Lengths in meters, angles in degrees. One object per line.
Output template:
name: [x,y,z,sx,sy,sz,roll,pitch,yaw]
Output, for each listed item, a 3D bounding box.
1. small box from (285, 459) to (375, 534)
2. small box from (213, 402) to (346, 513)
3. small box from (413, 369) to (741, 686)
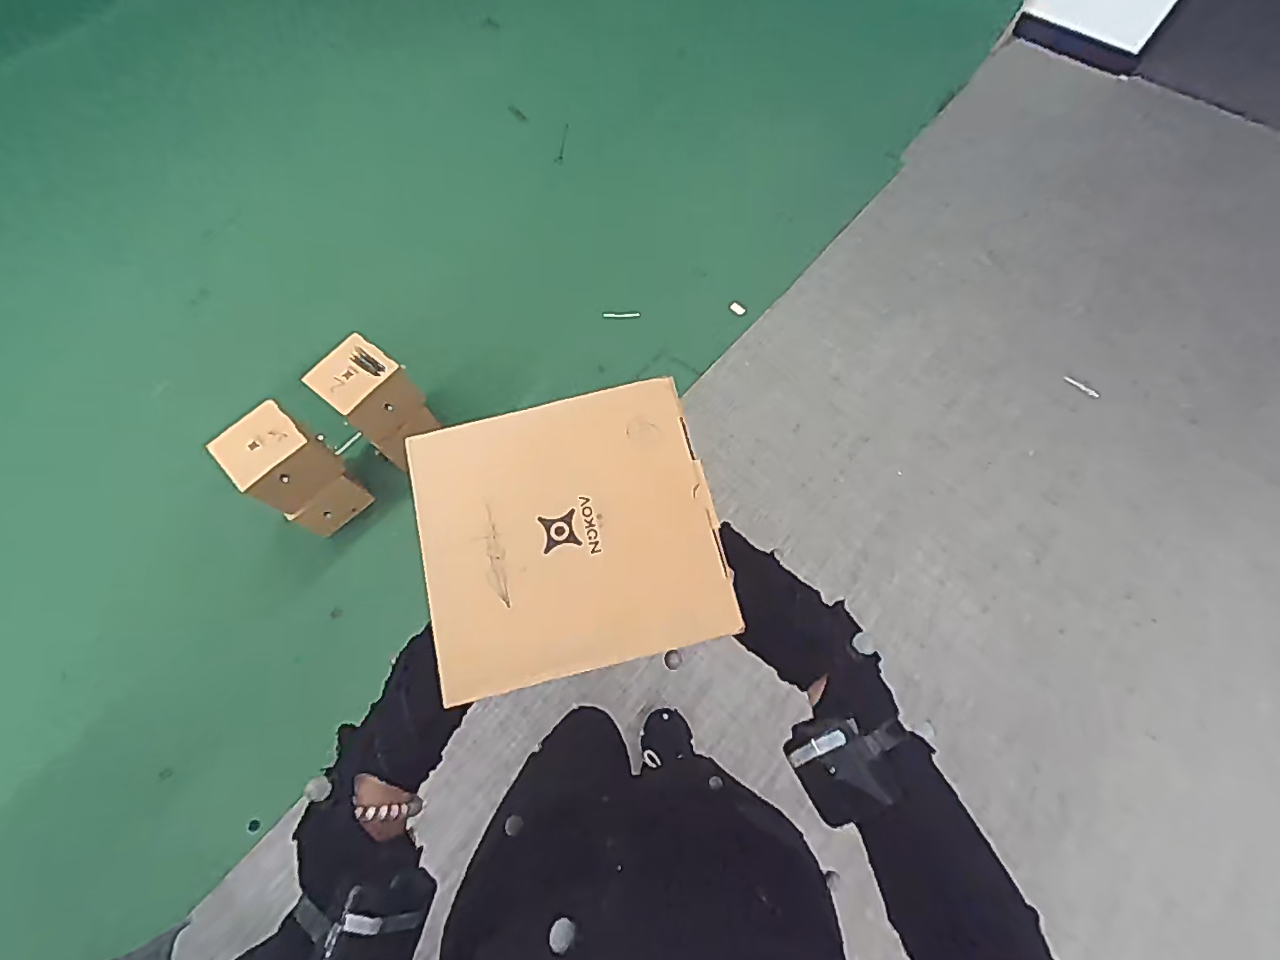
small box: [-0.857,0.028,1.459,0.168,0.176,0.179,-42,72,-14]
small box: [-0.864,-0.048,1.312,0.179,0.176,0.168,-43,72,-14]
small box: [-0.042,0.042,0.403,0.179,0.176,0.168,-13,74,-2]
